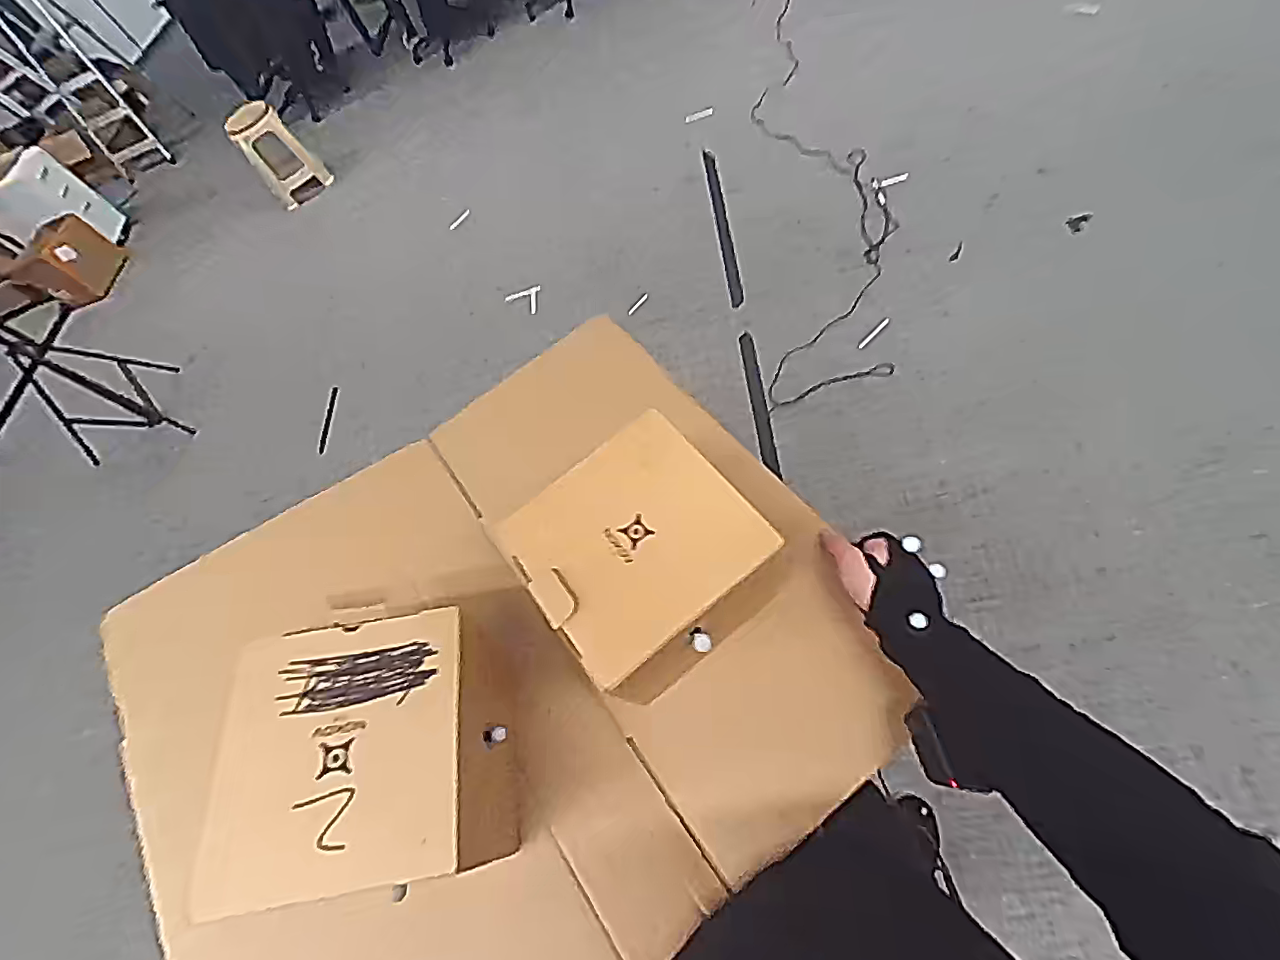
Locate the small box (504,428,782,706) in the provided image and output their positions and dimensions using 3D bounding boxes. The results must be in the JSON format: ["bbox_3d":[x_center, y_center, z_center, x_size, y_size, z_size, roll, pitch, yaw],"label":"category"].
[{"bbox_3d":[0.010,0.090,0.514,0.179,0.176,0.168,-39,64,-7],"label":"small box"}]
